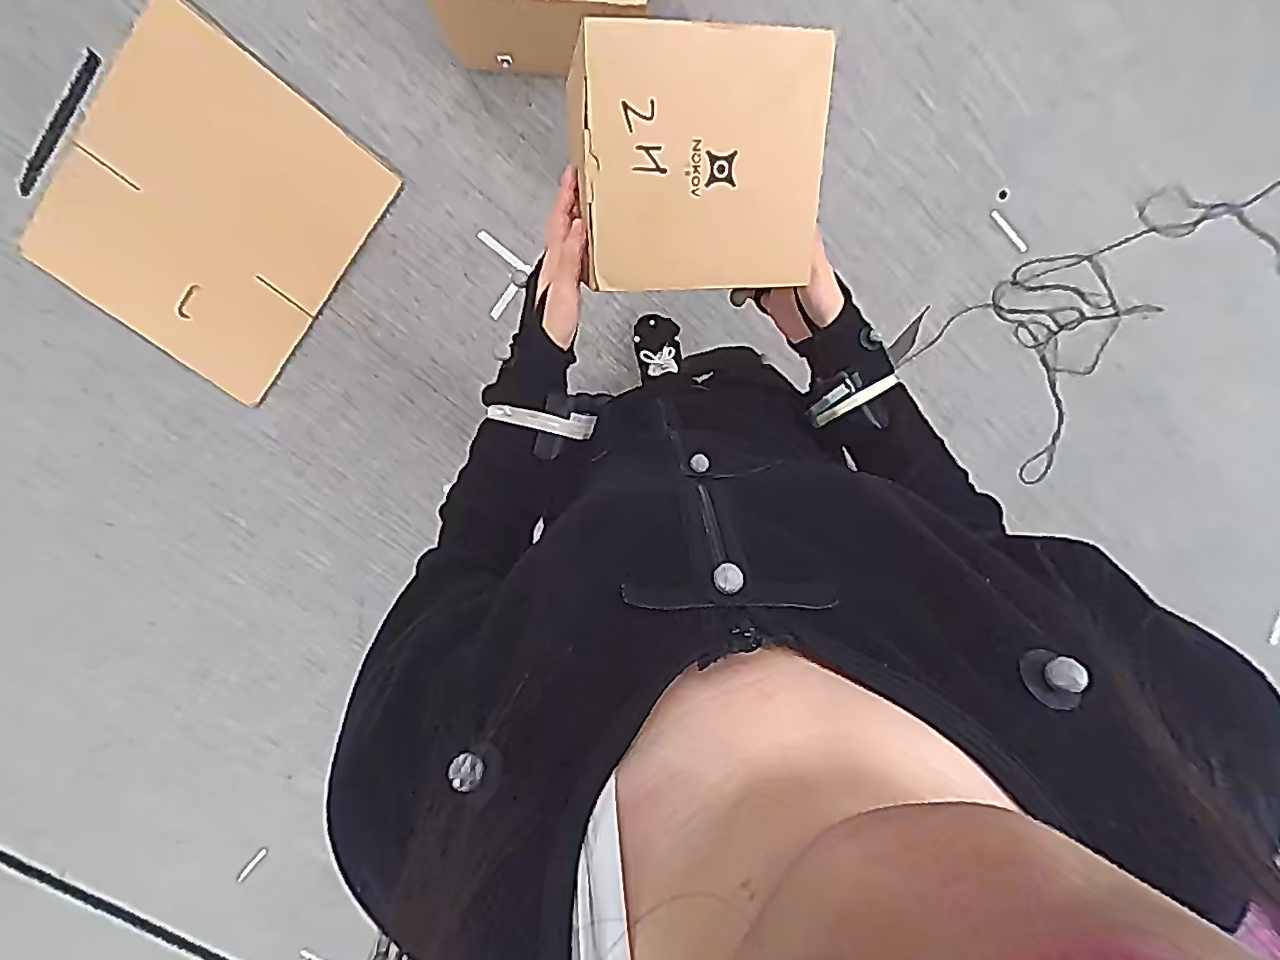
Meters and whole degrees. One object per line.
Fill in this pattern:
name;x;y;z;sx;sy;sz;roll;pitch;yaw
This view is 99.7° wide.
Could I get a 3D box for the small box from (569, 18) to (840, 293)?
small box;0.038;-0.252;0.457;0.179;0.176;0.168;-5;113;-9
